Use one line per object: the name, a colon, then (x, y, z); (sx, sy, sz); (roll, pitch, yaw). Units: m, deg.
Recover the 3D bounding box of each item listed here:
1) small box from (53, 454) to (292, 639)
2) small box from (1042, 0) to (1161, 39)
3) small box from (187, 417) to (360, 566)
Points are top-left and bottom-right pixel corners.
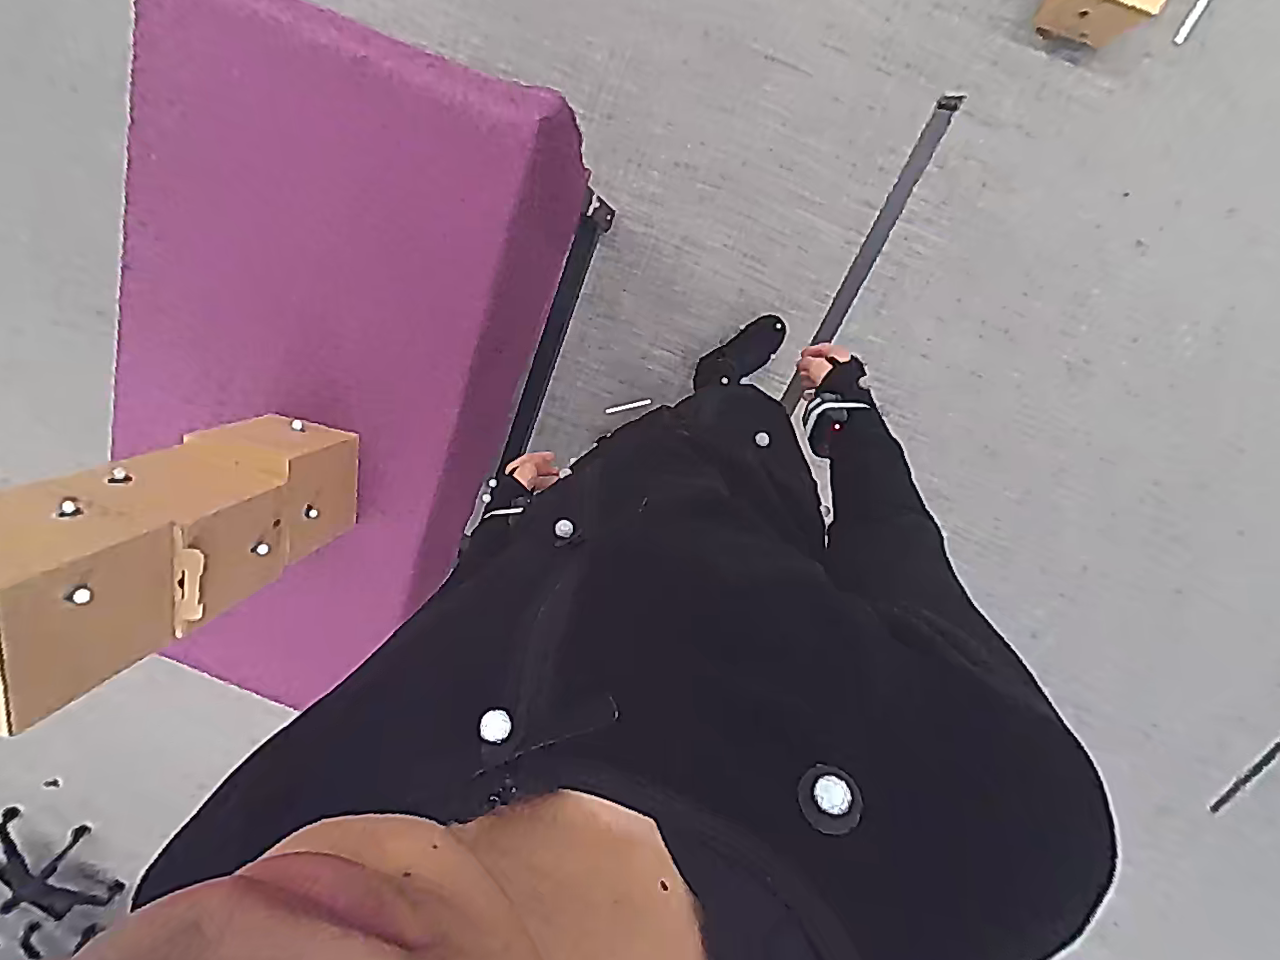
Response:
small box: (-0.617, 0.077, 0.730); (0.179, 0.176, 0.168); (18, 110, 2)
small box: (0.968, -1.047, 1.096); (0.168, 0.176, 0.179); (20, 109, 1)
small box: (-0.581, 0.010, 0.878); (0.168, 0.176, 0.179); (13, 108, 3)
